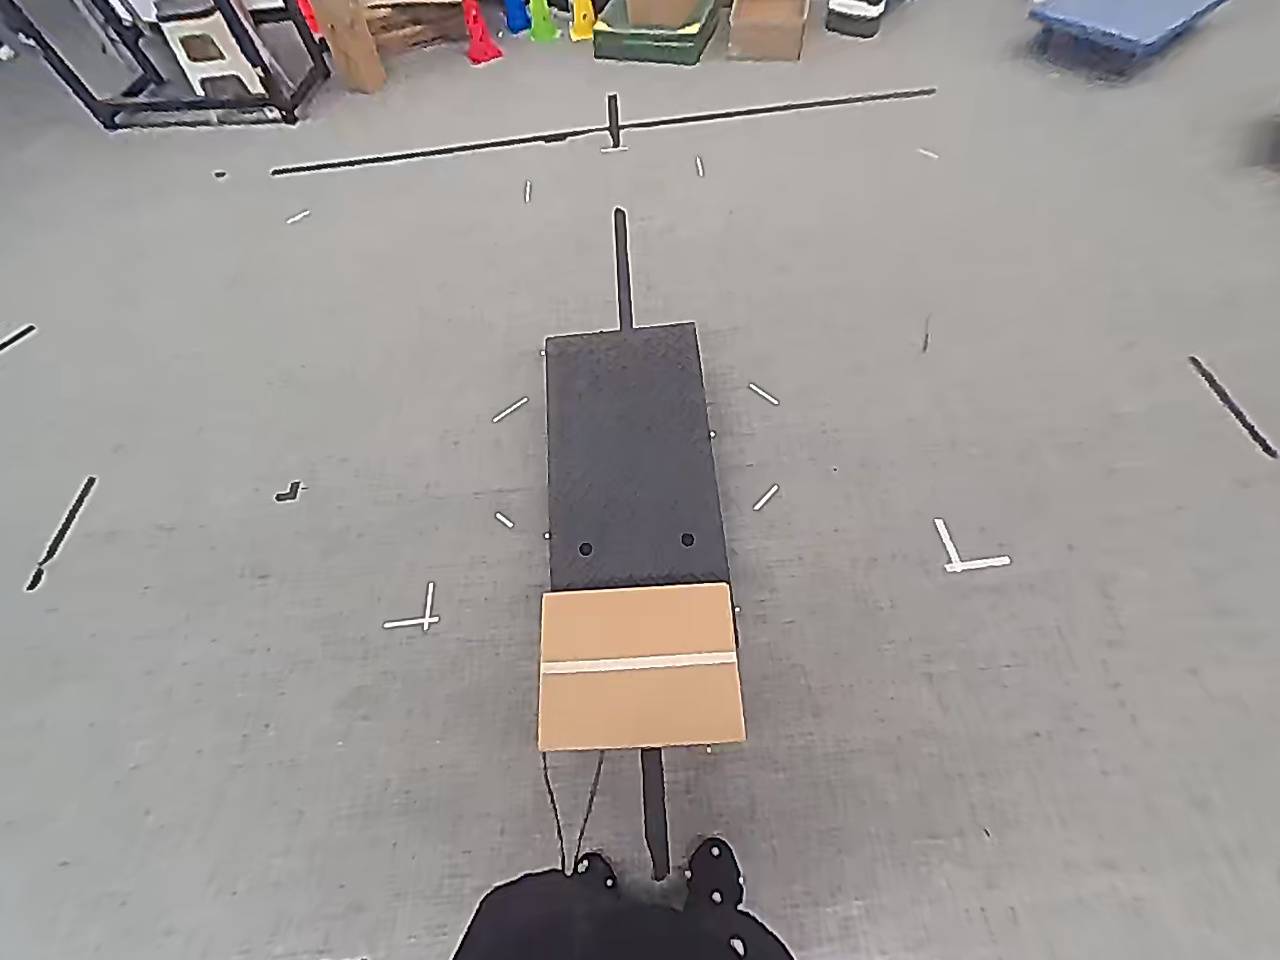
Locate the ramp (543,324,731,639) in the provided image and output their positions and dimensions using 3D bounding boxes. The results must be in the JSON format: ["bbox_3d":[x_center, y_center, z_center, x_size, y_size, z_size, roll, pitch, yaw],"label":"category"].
[{"bbox_3d":[-0.033,-0.019,1.591,0.509,0.206,0.991,-6,60,-1],"label":"ramp"}]

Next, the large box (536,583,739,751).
[{"bbox_3d":[-0.004,0.438,1.246,0.408,0.320,0.320,-3,64,2],"label":"large box"}]
